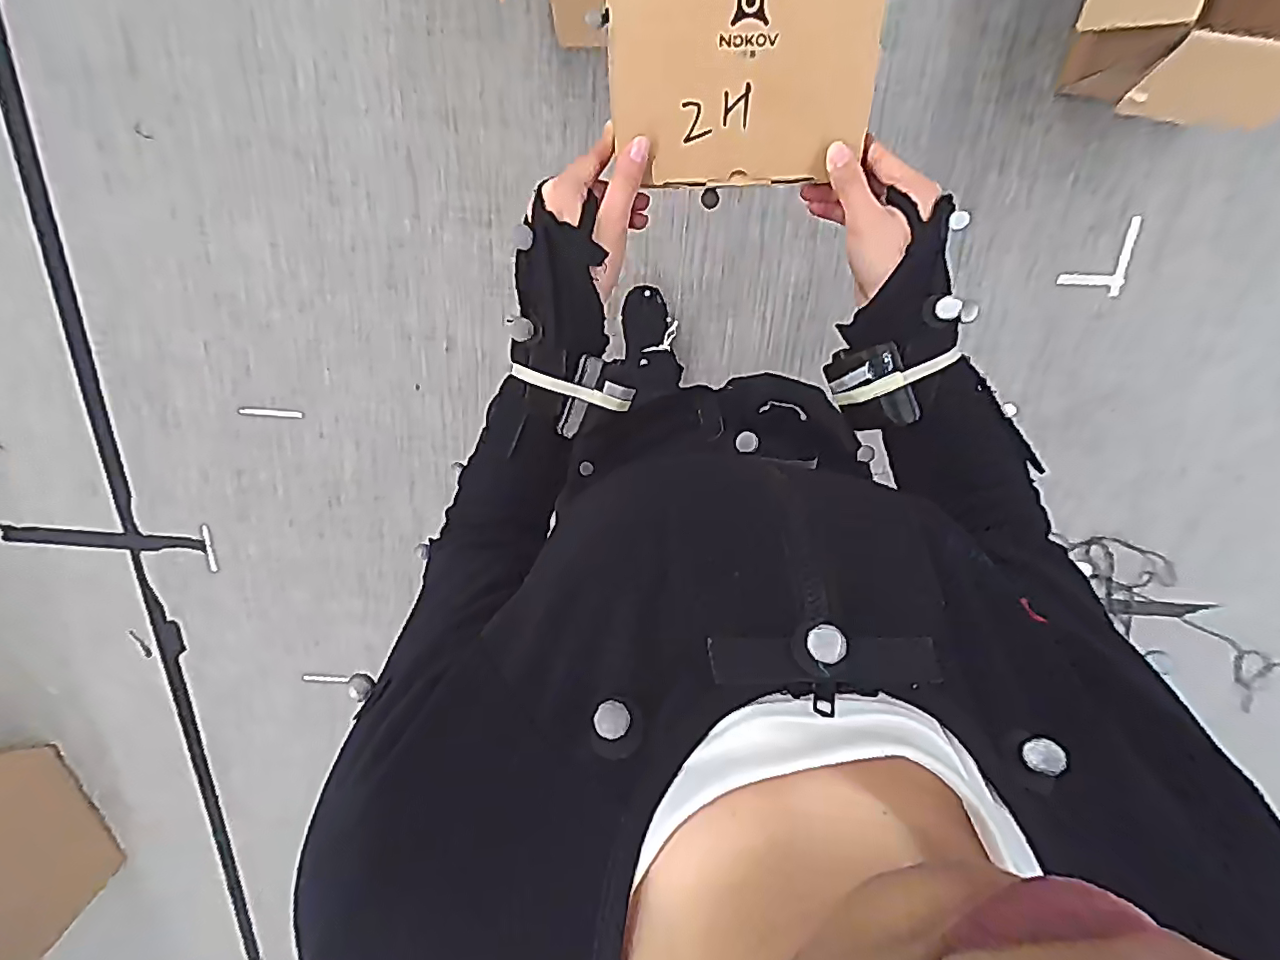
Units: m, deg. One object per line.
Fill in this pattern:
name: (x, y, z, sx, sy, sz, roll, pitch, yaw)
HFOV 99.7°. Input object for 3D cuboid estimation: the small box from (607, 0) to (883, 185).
small box: (0.060, -0.319, 0.394, 0.168, 0.176, 0.179, -2, 118, -2)
